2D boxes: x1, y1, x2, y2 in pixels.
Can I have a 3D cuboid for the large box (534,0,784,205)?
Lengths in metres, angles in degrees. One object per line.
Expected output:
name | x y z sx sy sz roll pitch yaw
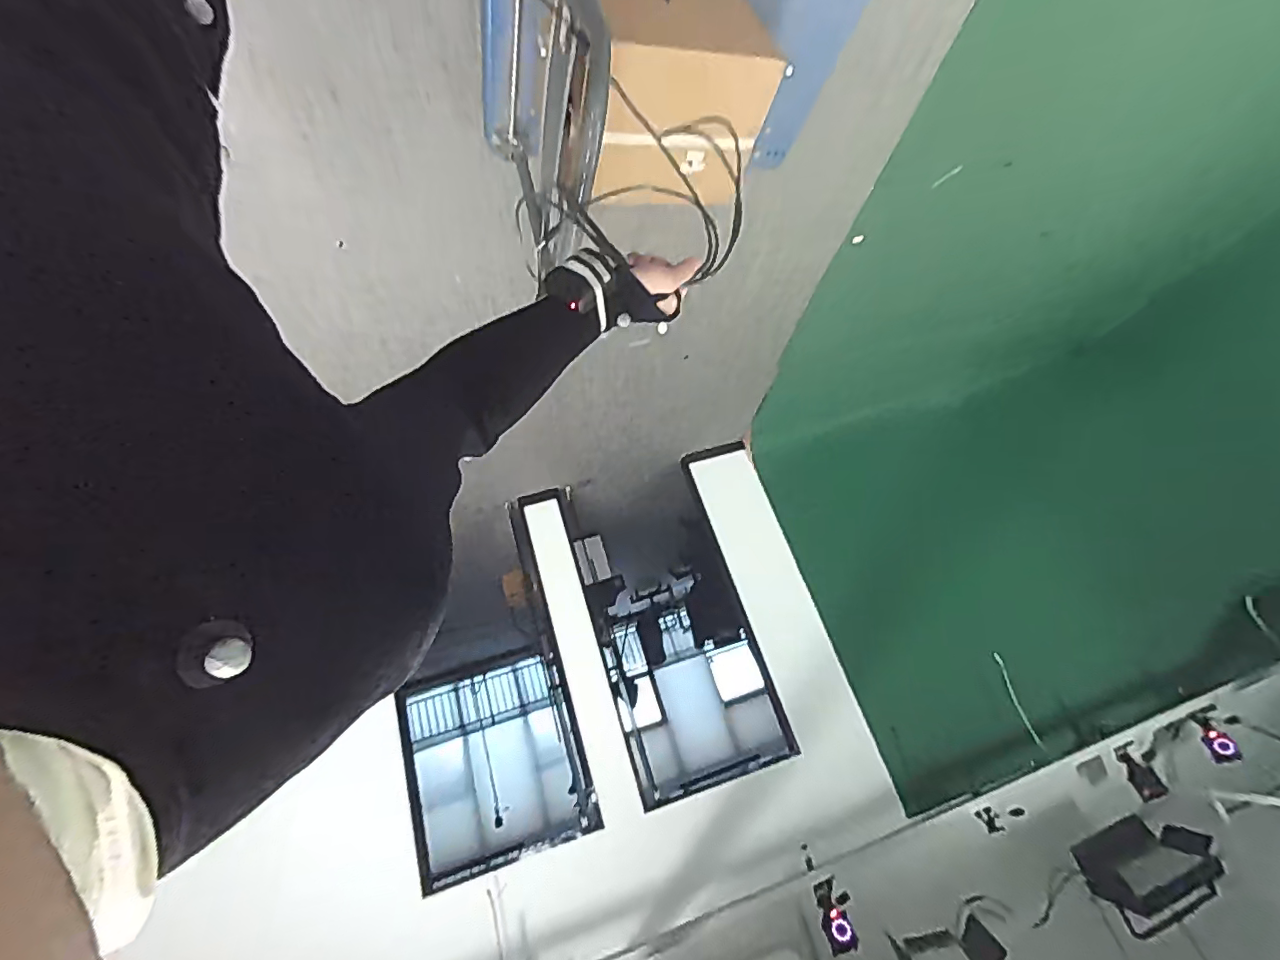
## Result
large box | 0.011 -0.822 1.142 0.408 0.320 0.320 -11 158 -20
